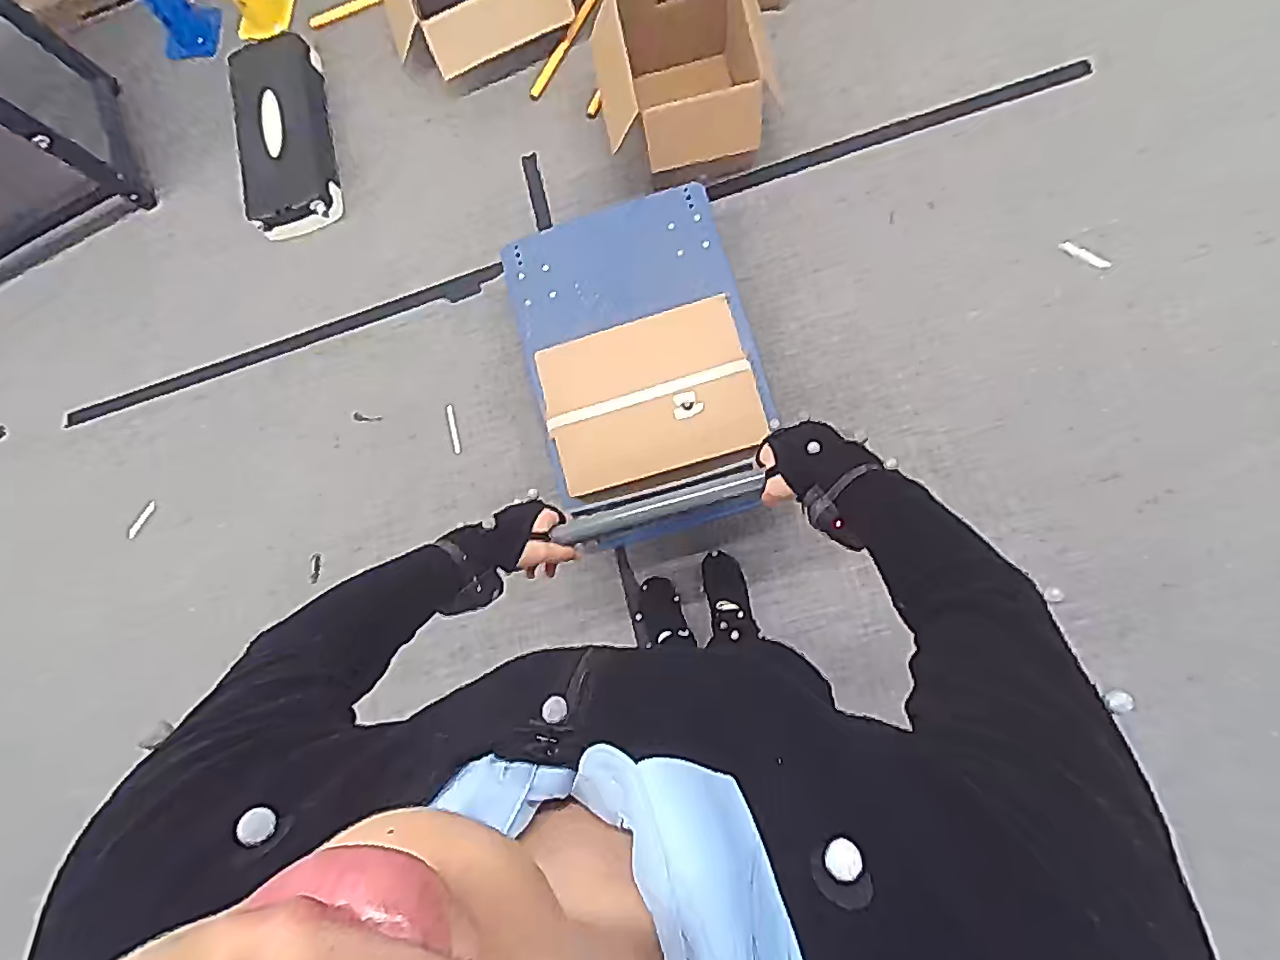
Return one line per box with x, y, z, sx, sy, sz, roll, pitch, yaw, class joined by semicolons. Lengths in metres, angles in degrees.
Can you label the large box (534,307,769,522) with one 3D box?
0.028;-0.117;1.193;0.408;0.320;0.320;-16;80;3;large box
